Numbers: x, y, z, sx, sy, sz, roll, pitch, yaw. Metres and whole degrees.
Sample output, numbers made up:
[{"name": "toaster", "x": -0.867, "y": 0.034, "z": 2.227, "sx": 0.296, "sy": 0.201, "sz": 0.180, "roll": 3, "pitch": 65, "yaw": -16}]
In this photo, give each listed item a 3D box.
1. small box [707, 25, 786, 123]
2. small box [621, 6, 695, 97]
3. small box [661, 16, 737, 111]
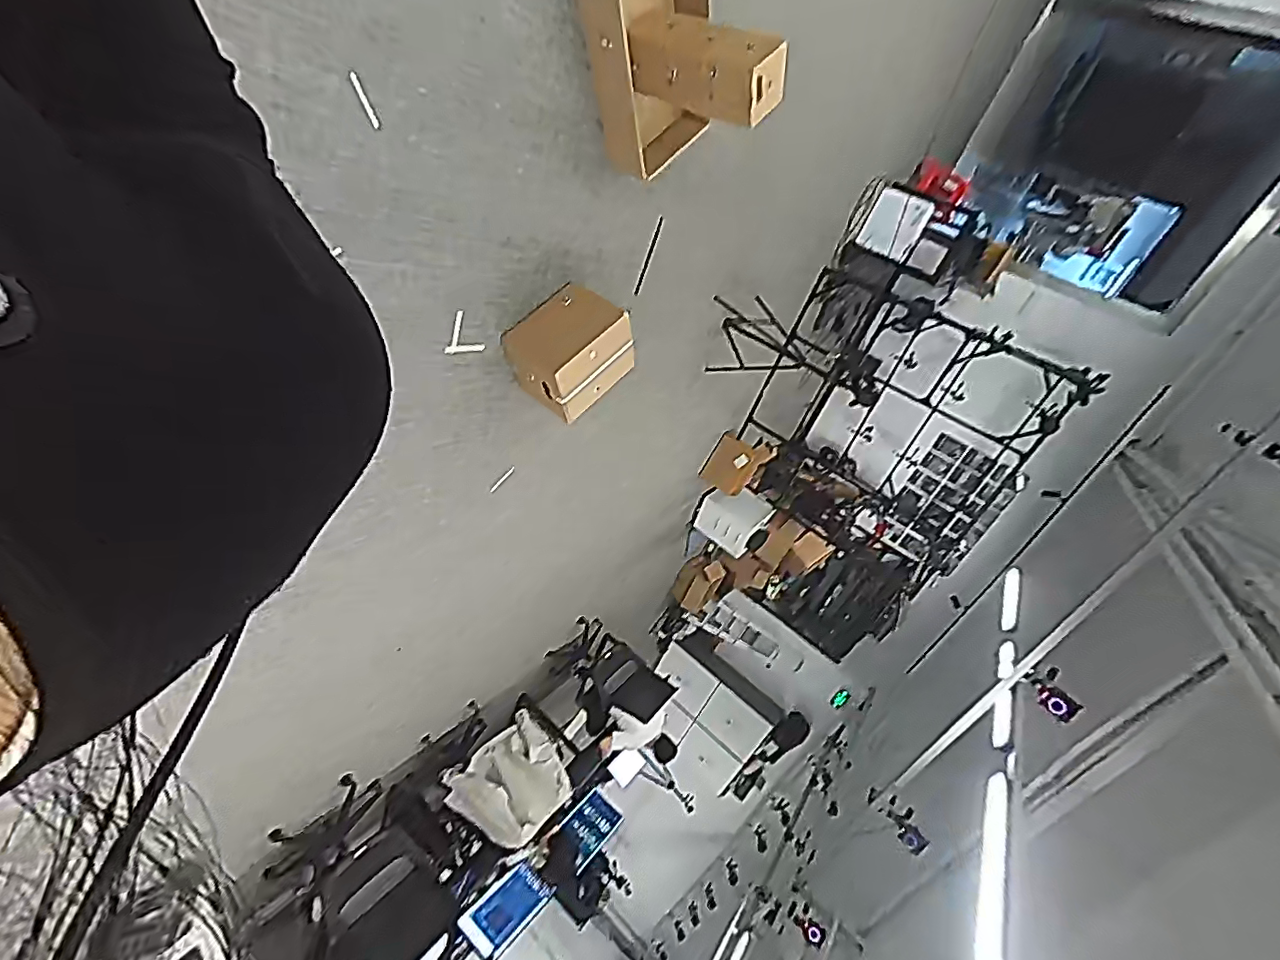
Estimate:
[{"name": "small box", "x": 0.312, "y": -1.217, "z": 1.619, "sx": 0.179, "sy": 0.176, "sz": 0.168, "roll": -49, "pitch": 157, "yaw": -16}, {"name": "small box", "x": 0.061, "y": -1.386, "z": 1.743, "sx": 0.179, "sy": 0.176, "sz": 0.168, "roll": -47, "pitch": 156, "yaw": -18}, {"name": "small box", "x": 0.185, "y": -1.300, "z": 1.682, "sx": 0.179, "sy": 0.176, "sz": 0.168, "roll": -47, "pitch": 155, "yaw": -16}]
